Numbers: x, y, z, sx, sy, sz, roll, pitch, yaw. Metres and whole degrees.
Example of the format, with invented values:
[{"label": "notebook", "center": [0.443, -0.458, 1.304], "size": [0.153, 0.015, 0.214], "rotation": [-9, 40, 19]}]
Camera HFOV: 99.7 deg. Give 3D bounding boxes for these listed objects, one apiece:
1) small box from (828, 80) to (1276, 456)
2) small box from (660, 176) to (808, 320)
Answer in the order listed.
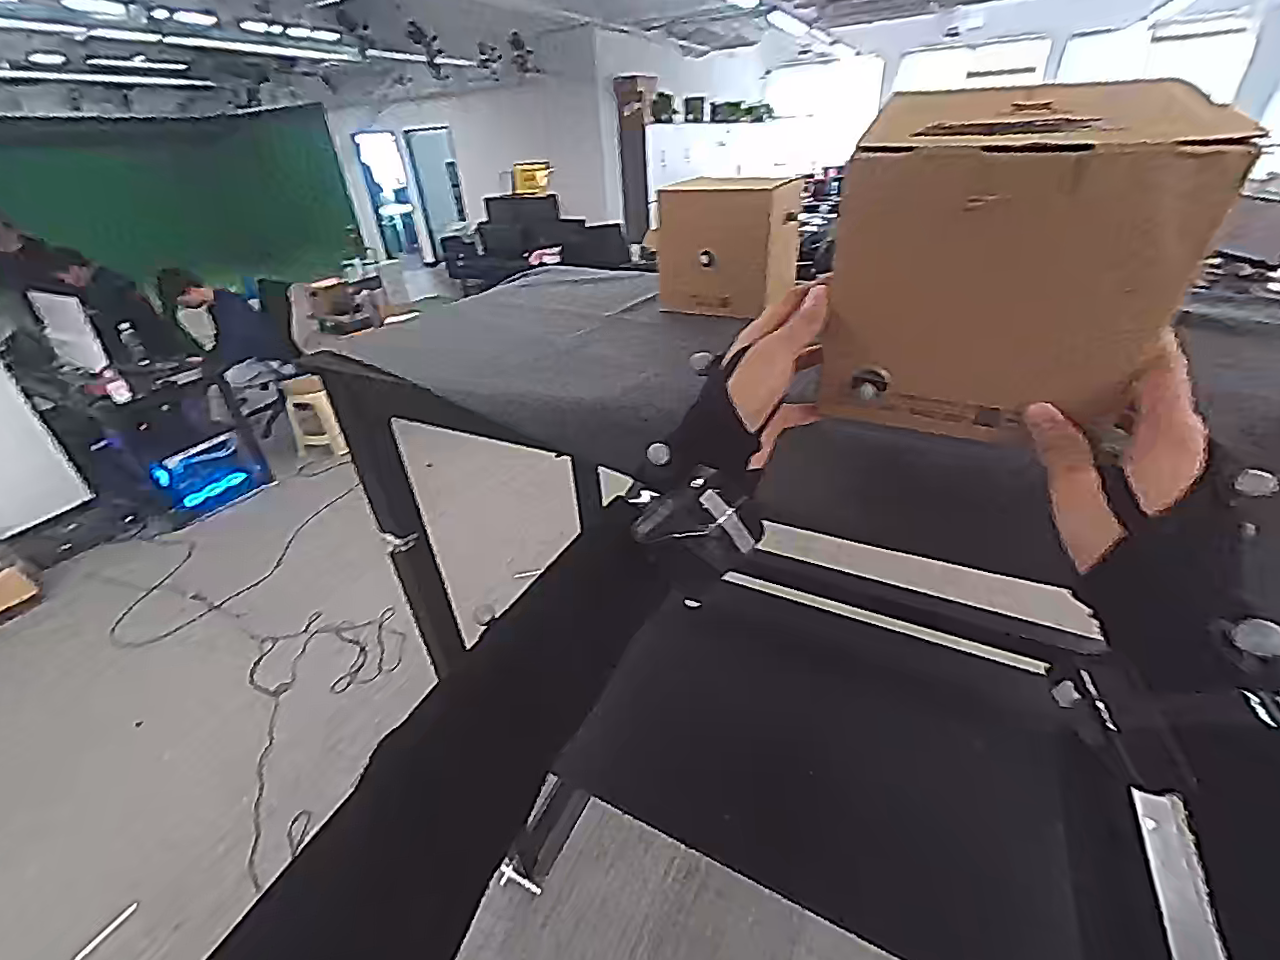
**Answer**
[{"label": "small box", "center": [0.229, -0.139, 0.353], "size": [0.168, 0.176, 0.179], "rotation": [15, 46, 23]}, {"label": "small box", "center": [0.142, -0.347, 0.805], "size": [0.168, 0.176, 0.179], "rotation": [14, 36, 24]}]
